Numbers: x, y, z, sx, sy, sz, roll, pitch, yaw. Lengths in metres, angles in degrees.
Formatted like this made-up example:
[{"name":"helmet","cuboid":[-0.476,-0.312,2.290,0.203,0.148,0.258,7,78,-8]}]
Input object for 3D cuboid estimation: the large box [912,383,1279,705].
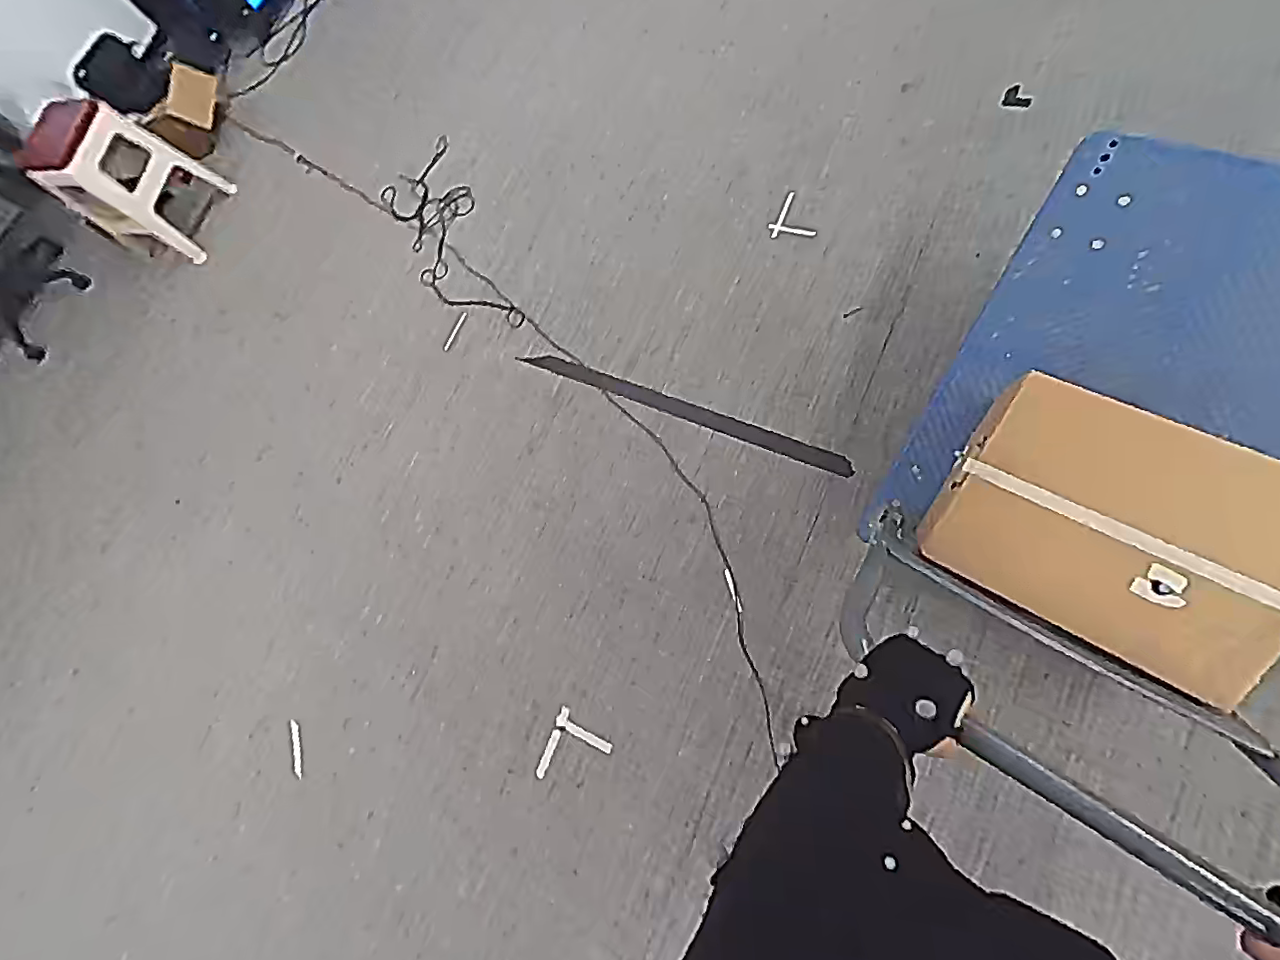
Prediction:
[{"name":"large box","cuboid":[0.724,0.076,0.891,0.408,0.320,0.320,30,103,22]}]
